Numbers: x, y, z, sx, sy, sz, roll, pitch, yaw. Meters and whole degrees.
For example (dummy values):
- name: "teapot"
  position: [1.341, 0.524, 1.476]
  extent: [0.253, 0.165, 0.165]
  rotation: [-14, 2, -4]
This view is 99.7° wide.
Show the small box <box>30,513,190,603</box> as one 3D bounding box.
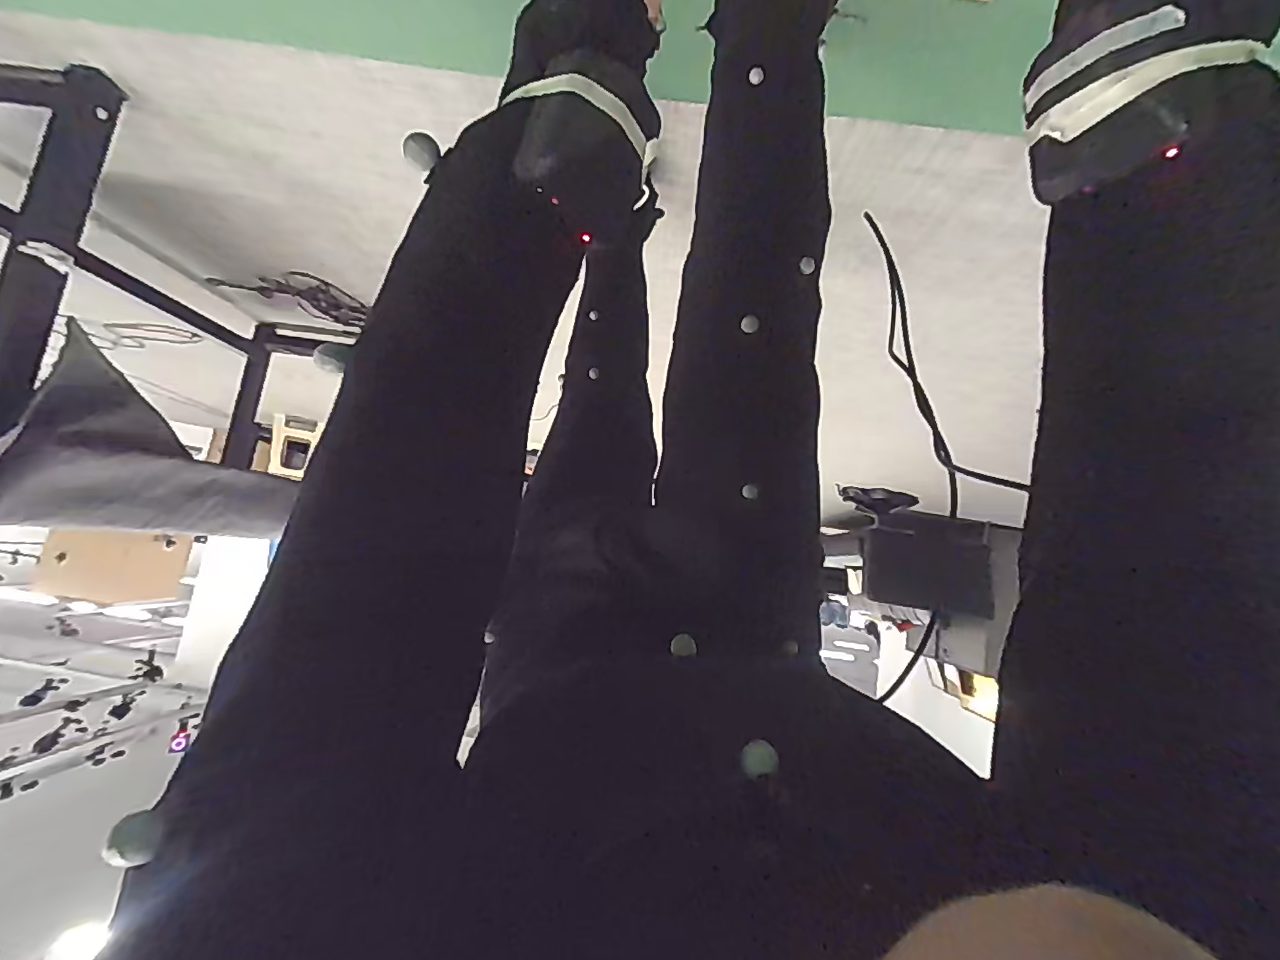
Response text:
- name: "small box"
  position: [-1.143, 0.165, 1.183]
  extent: [0.179, 0.176, 0.168]
  rotation: [8, 174, 1]
